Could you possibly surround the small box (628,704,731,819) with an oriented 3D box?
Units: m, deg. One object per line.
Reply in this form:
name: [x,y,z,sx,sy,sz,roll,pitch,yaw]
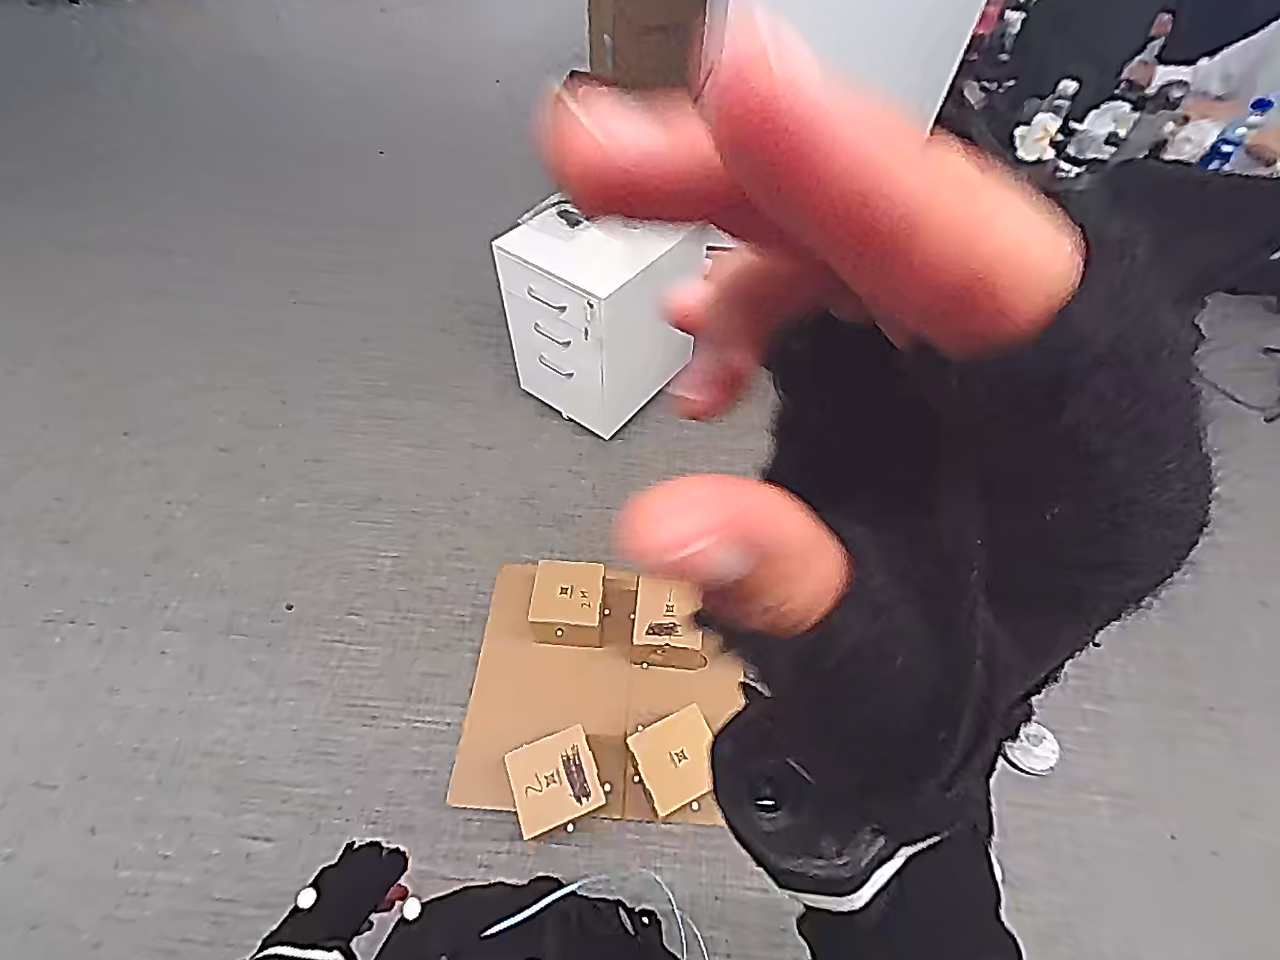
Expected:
small box: [0.081,0.639,1.223,0.179,0.176,0.168,-22,58,-14]
